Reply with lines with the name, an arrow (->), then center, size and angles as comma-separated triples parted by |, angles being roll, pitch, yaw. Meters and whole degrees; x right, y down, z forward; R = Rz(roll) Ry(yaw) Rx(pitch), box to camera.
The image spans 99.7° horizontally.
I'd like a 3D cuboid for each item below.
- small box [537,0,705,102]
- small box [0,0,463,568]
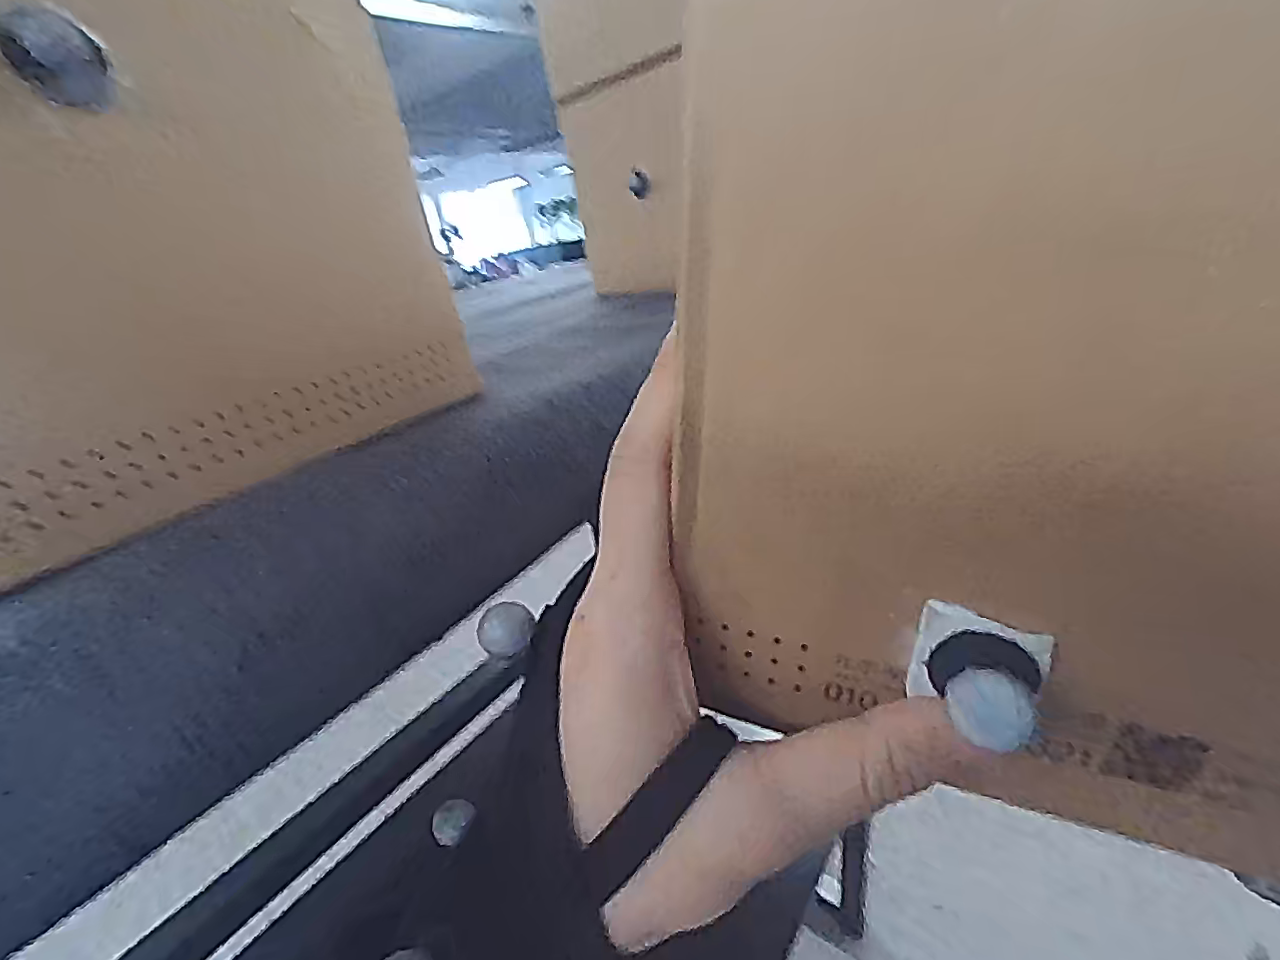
small box -> 0.021, -0.424, 0.435 | 0.179, 0.176, 0.168 | 14, 36, 41
small box -> -0.204, -0.087, 0.215 | 0.168, 0.176, 0.179 | 8, 30, 35
